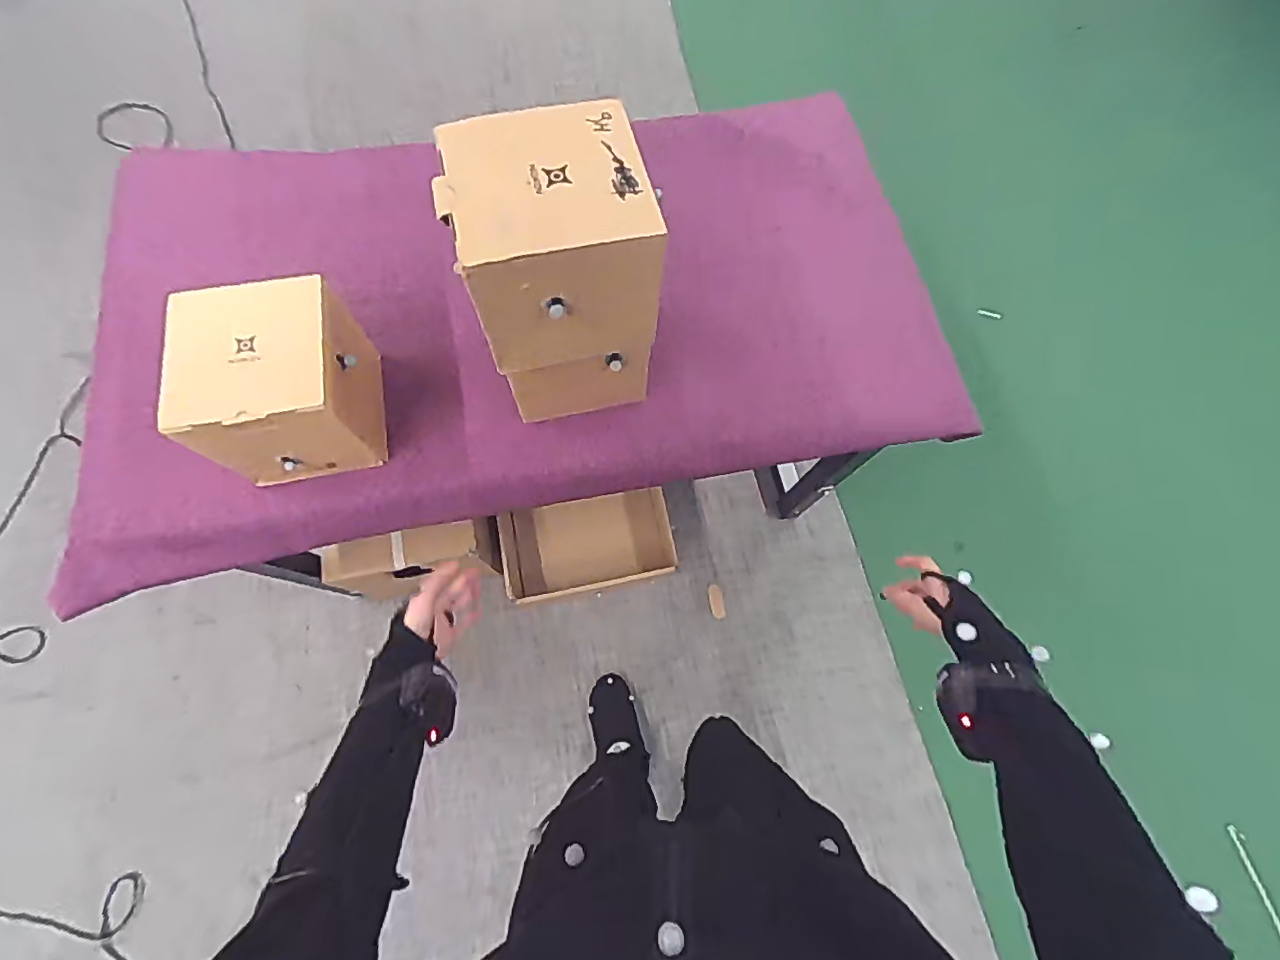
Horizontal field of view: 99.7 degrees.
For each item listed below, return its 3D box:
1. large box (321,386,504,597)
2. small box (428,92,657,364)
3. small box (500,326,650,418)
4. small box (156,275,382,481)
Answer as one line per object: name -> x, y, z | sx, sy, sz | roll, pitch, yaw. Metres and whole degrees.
large box -> -0.534, 0.041, 1.302 | 0.320, 0.320, 0.408 | -11, 74, -6
small box -> -0.088, -0.236, 0.539 | 0.179, 0.176, 0.168 | -14, 72, -6
small box -> -0.093, -0.200, 0.700 | 0.179, 0.176, 0.168 | -12, 71, -6
small box -> -0.433, -0.116, 0.660 | 0.168, 0.176, 0.179 | -11, 72, -6
